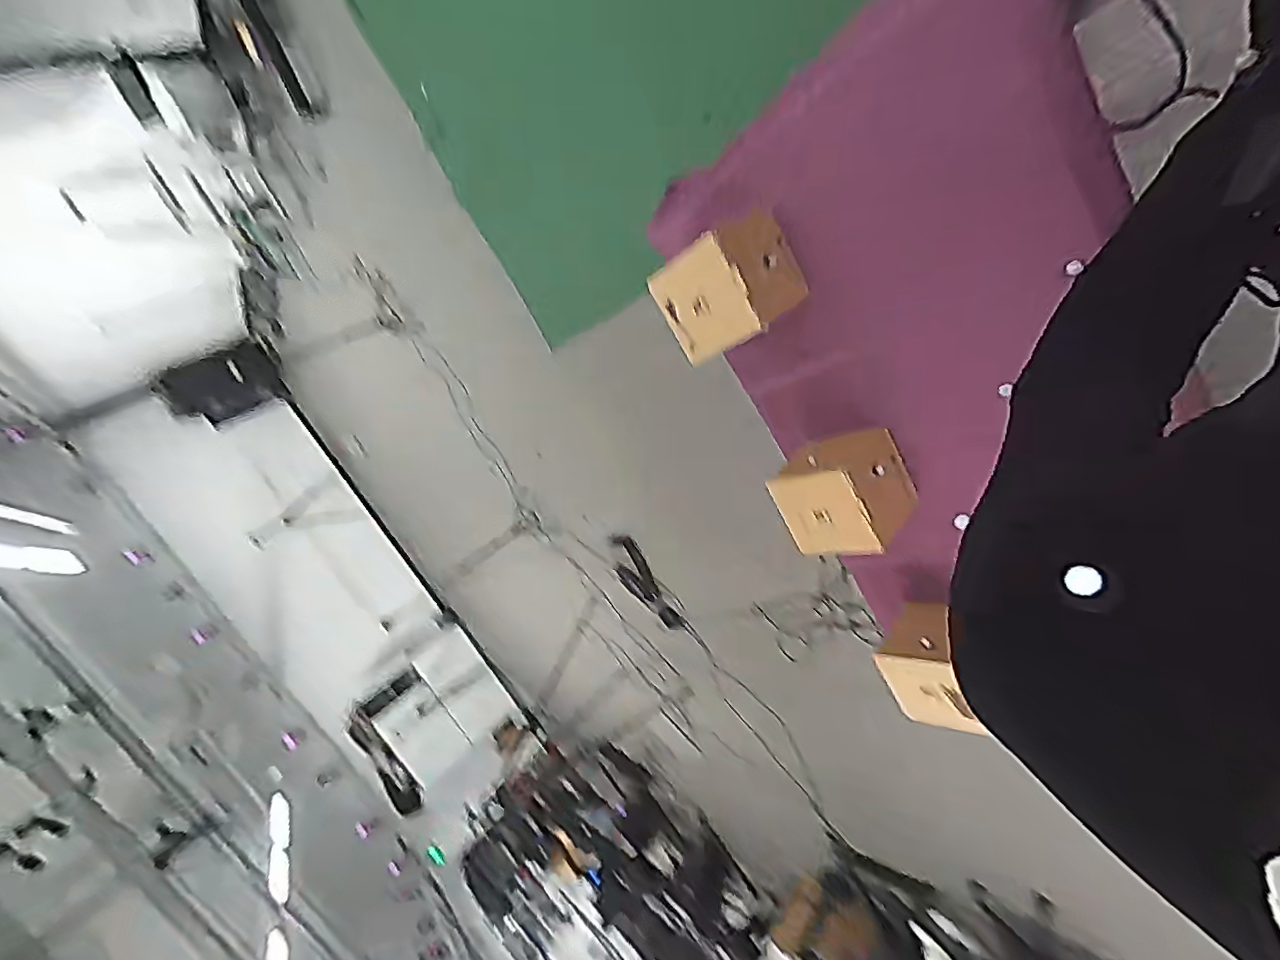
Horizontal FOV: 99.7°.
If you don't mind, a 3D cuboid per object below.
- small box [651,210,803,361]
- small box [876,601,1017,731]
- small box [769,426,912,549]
[{"bbox_3d":[0.160,-0.340,0.946,0.179,0.176,0.168,-16,109,53],"label":"small box"},{"bbox_3d":[0.612,0.356,1.069,0.179,0.176,0.168,-16,108,56],"label":"small box"},{"bbox_3d":[0.386,0.014,1.020,0.179,0.176,0.168,-12,111,55],"label":"small box"}]
